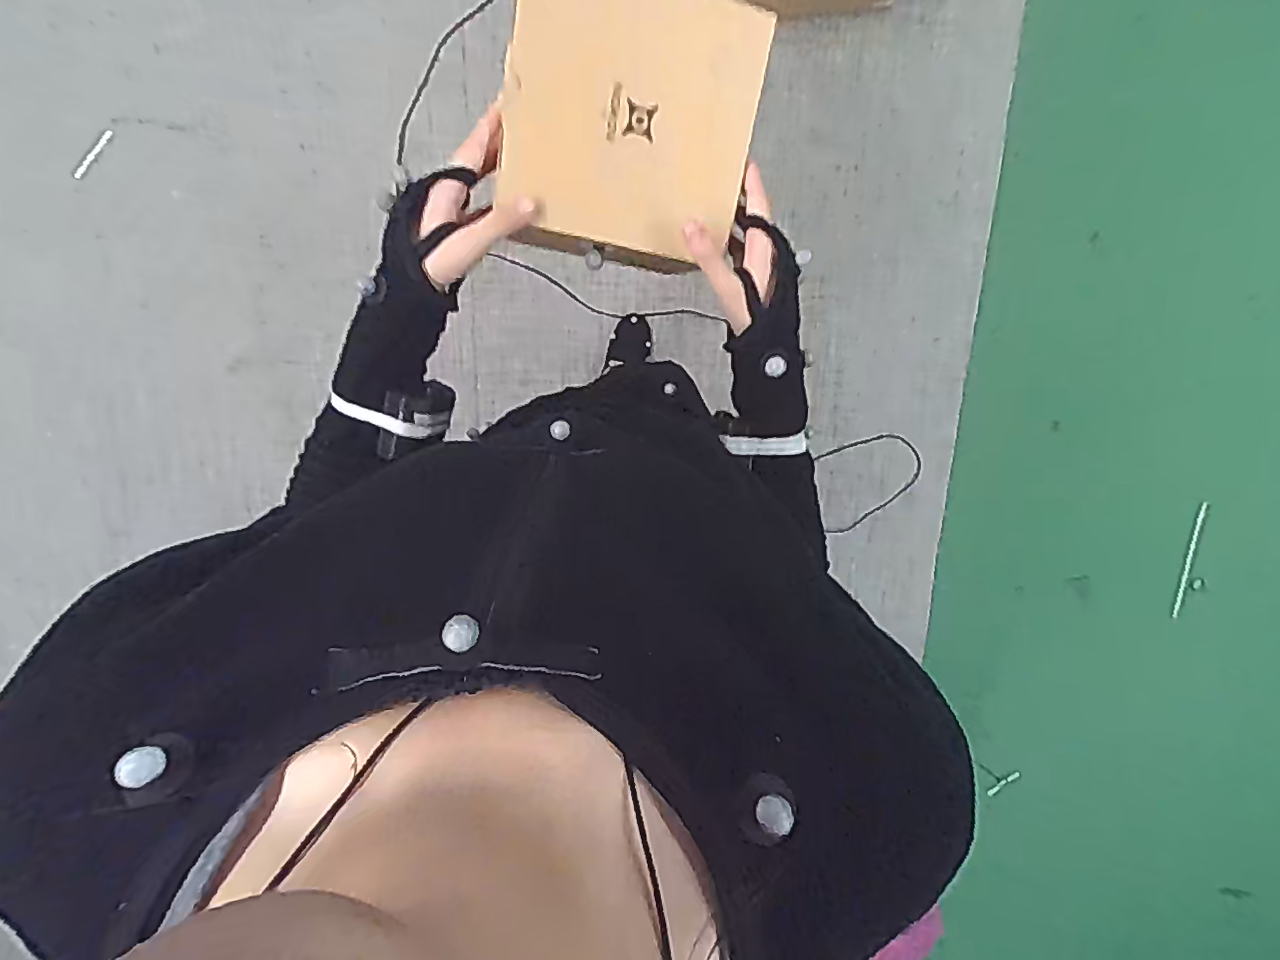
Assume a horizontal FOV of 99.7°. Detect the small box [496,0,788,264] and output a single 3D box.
[{"bbox_3d":[-0.014,-0.278,0.437,0.179,0.176,0.168,8,107,-13],"label":"small box"}]
